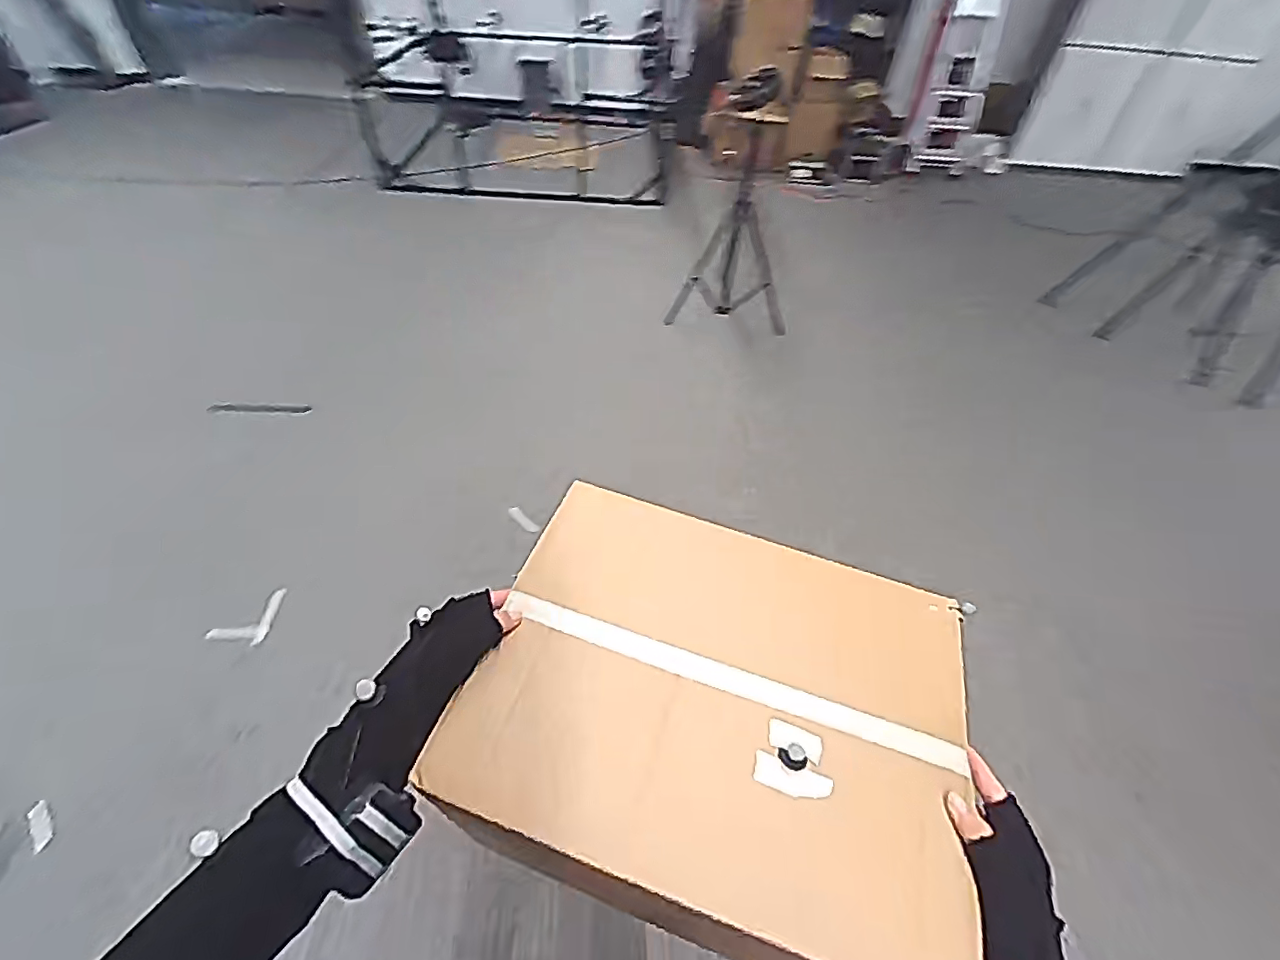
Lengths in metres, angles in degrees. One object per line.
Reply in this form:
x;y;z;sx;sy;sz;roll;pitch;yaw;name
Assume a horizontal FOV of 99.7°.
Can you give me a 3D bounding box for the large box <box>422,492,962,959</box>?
0.052;0.268;0.585;0.408;0.320;0.320;17;50;8;large box
